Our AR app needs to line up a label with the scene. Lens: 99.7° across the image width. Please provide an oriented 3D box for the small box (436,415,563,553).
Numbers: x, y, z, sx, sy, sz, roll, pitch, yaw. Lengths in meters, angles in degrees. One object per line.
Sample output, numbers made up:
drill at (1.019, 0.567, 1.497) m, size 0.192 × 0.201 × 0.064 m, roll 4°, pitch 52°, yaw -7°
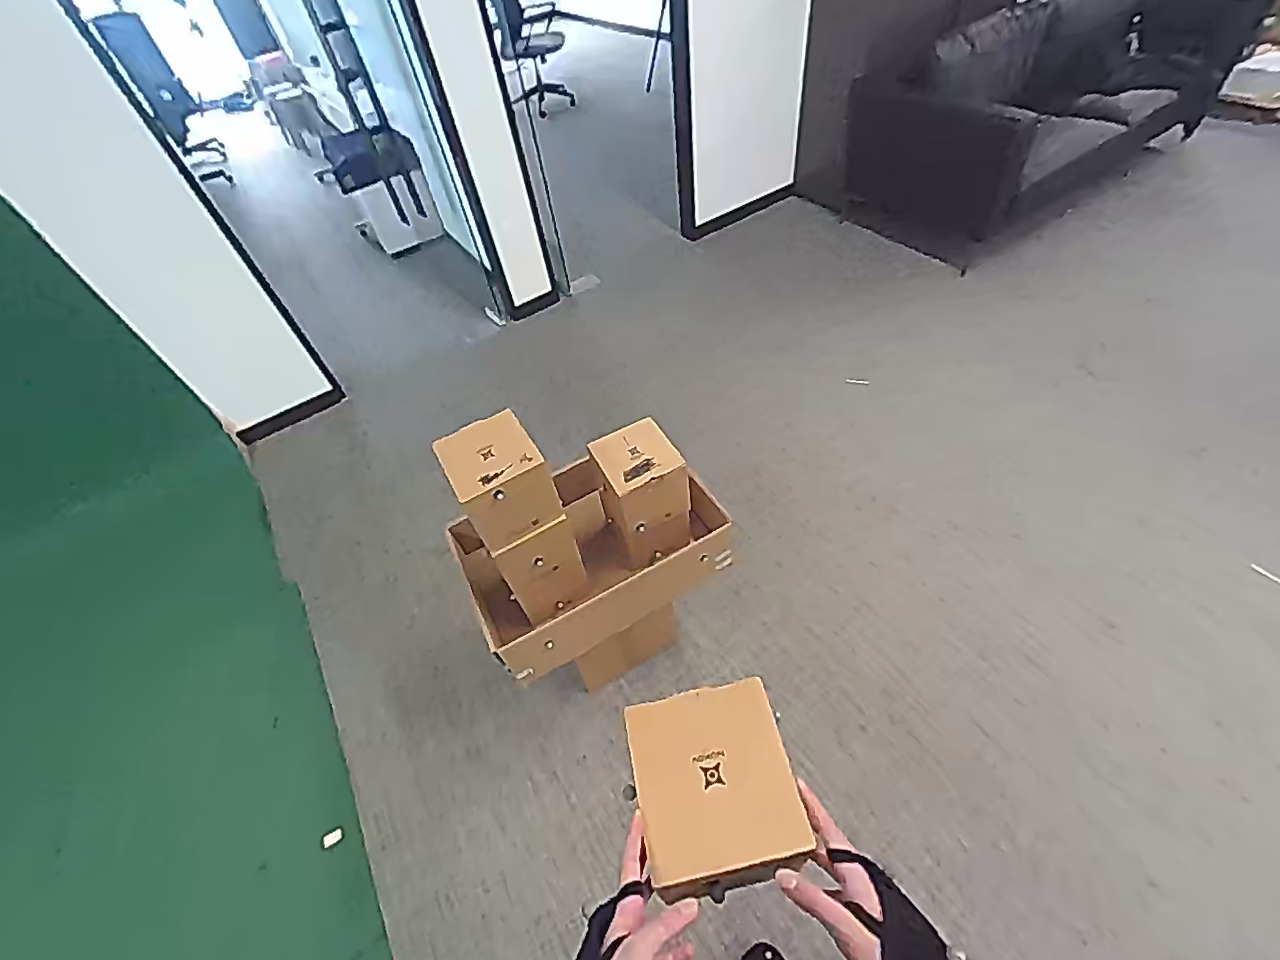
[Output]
small box at (-0.272, 0.010, 1.063) m, size 0.168 × 0.176 × 0.179 m, roll -28°, pitch 52°, yaw -15°

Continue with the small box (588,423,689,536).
small box at (0.002, 0.007, 1.243) m, size 0.168 × 0.176 × 0.179 m, roll -25°, pitch 50°, yaw -11°

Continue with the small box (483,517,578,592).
small box at (-0.251, 0.120, 1.183) m, size 0.168 × 0.176 × 0.179 m, roll -27°, pitch 53°, yaw -15°

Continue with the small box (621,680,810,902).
small box at (0.083, 0.365, 0.629) m, size 0.168 × 0.176 × 0.179 m, roll -13°, pitch 46°, yaw -2°
